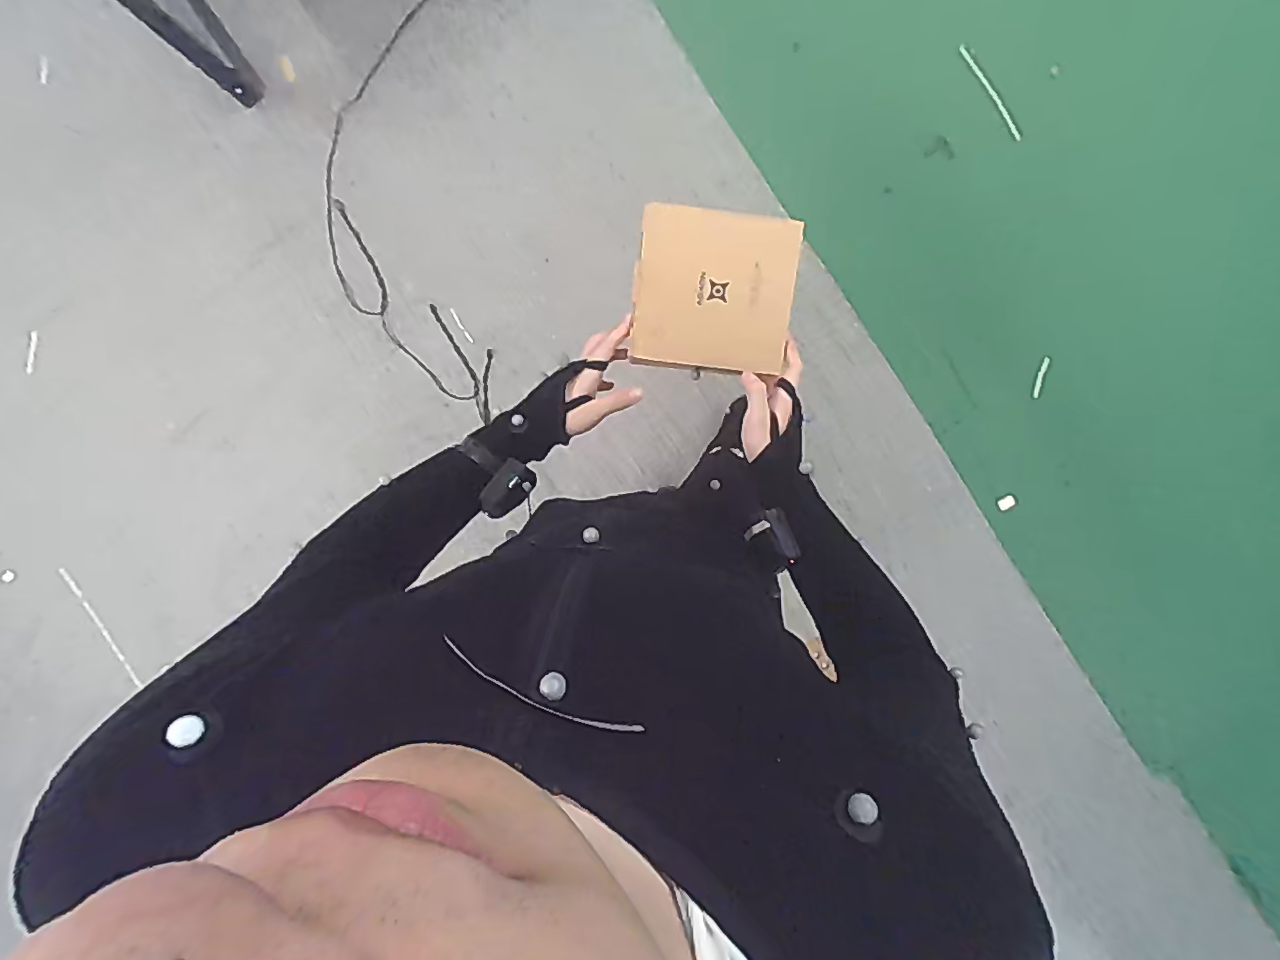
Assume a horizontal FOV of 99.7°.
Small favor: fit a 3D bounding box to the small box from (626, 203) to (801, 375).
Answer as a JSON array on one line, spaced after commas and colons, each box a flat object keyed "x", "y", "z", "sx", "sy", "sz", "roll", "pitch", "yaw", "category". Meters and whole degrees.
[{"x": 0.079, "y": -0.223, "z": 0.674, "sx": 0.179, "sy": 0.176, "sz": 0.168, "roll": 6, "pitch": 100, "yaw": -2, "category": "small box"}]
